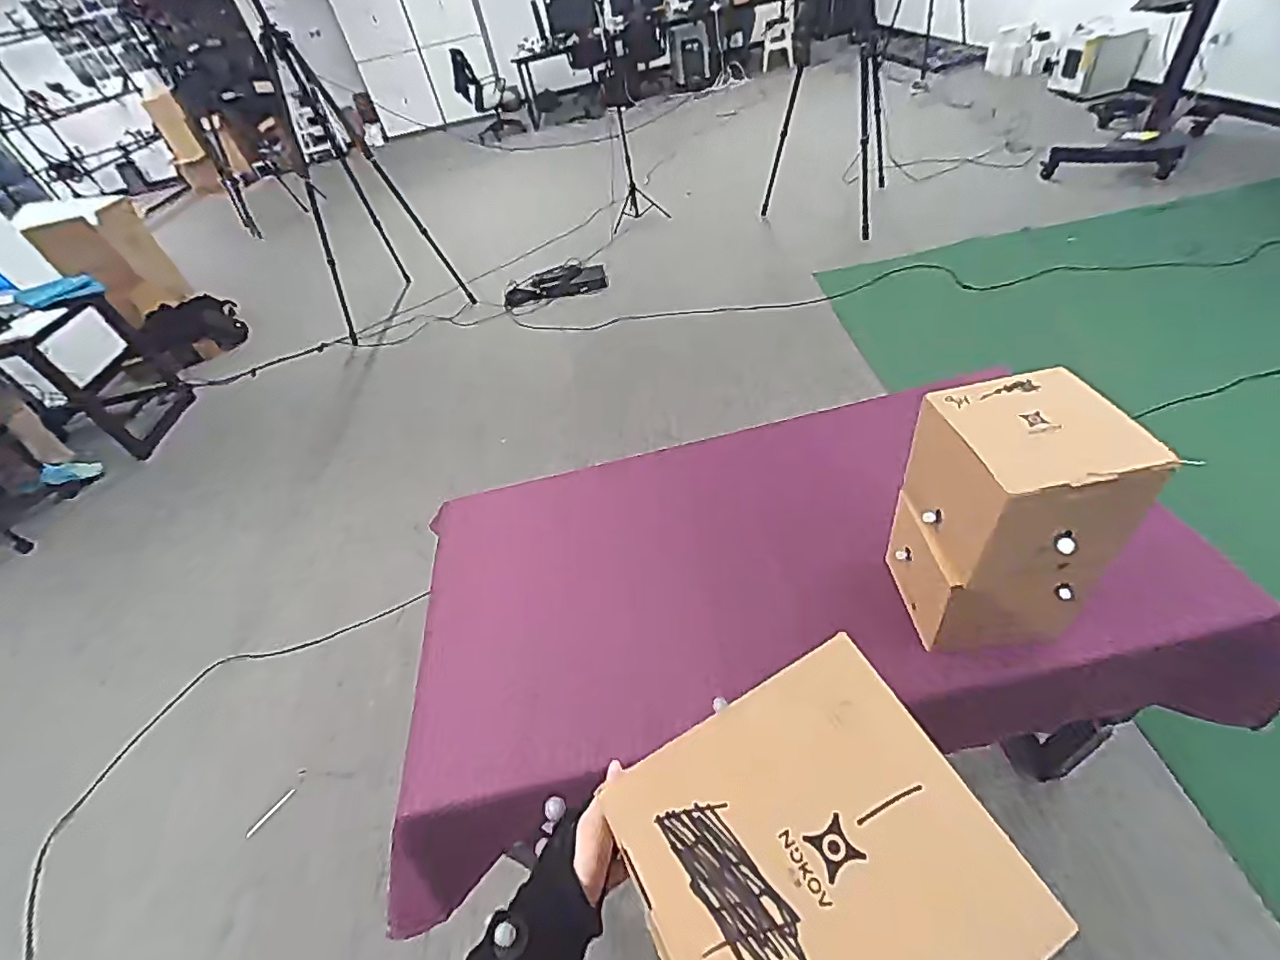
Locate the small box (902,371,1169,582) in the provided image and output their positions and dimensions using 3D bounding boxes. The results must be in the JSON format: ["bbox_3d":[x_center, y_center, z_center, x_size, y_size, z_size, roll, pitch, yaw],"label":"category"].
[{"bbox_3d":[0.434,0.003,0.635,0.168,0.176,0.179,-11,45,3],"label":"small box"}]

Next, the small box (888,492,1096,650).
[{"bbox_3d":[0.460,0.119,0.748,0.179,0.176,0.168,-8,44,6],"label":"small box"}]
